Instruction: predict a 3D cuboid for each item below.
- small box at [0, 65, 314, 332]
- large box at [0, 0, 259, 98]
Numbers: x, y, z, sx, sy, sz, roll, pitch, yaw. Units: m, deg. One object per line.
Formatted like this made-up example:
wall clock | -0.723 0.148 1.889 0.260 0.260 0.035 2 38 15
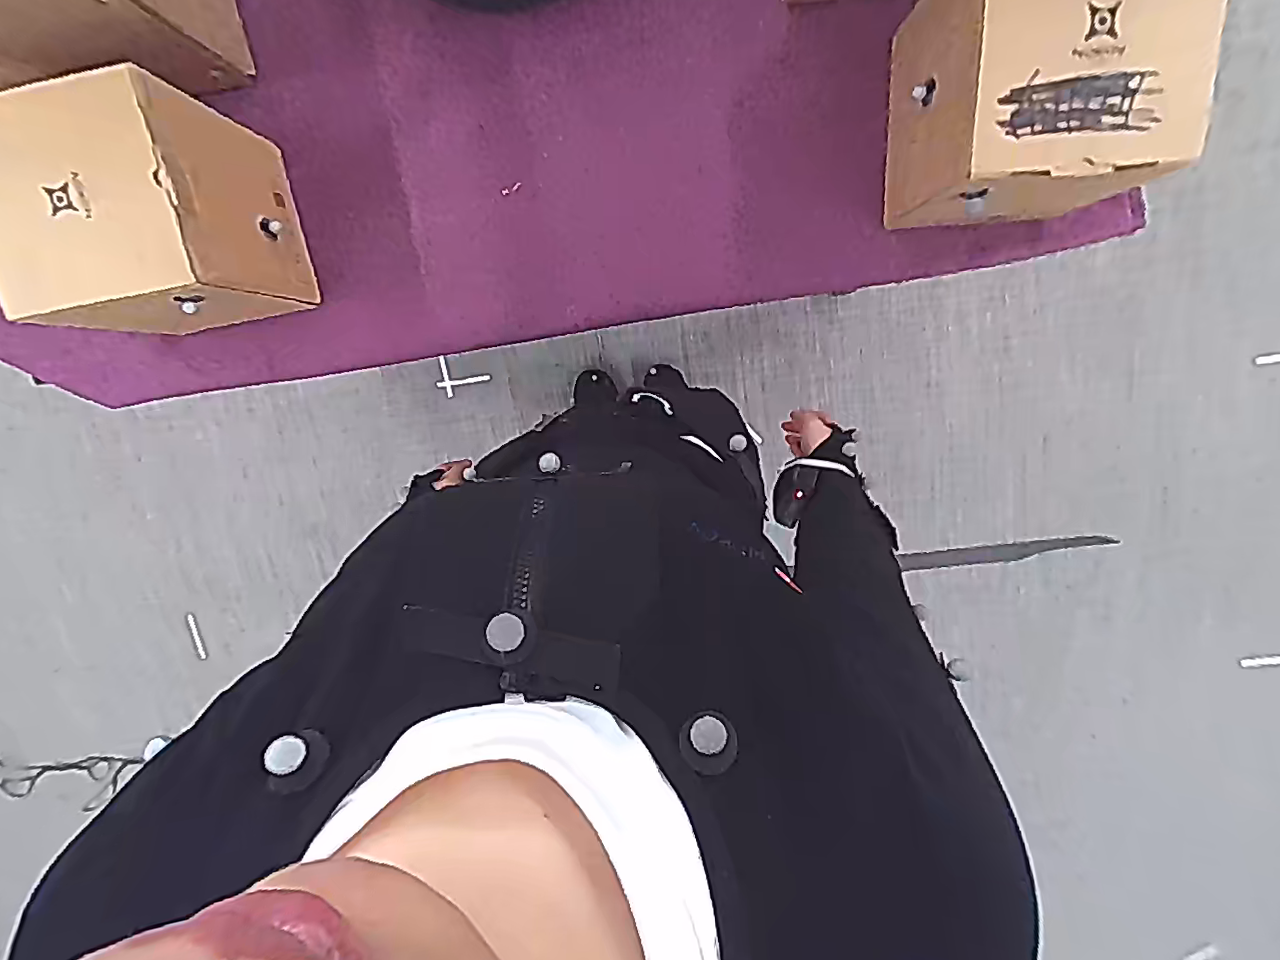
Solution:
small box | -0.459 -0.242 0.514 0.179 0.176 0.168 -10 101 3
large box | -0.572 -0.542 0.377 0.320 0.320 0.408 -9 105 3
